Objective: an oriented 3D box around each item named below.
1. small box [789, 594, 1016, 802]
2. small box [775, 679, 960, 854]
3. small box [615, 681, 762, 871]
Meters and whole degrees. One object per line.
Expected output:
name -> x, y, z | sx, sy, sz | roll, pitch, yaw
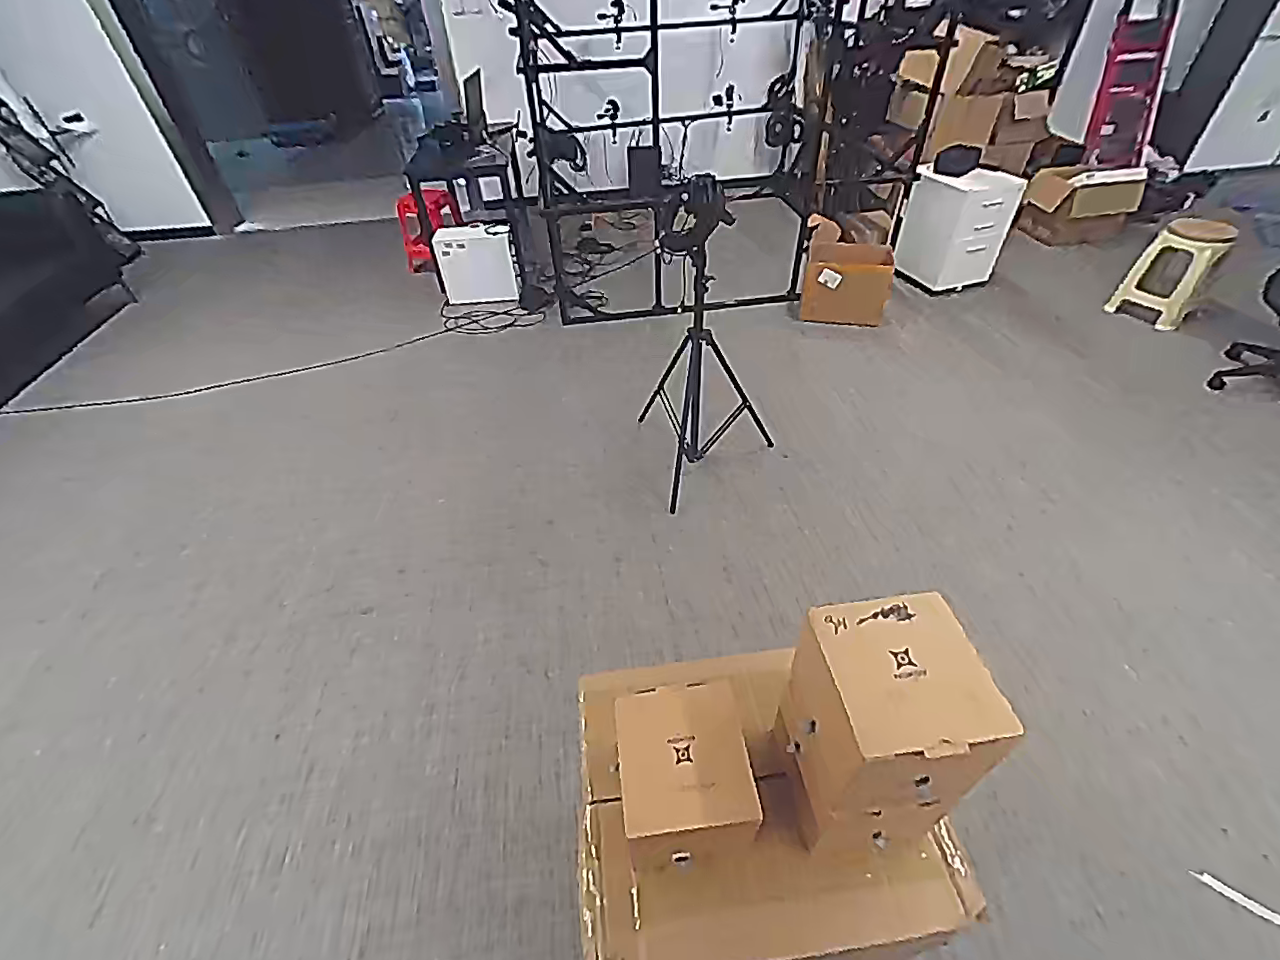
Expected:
small box -> 0.289, 0.263, 0.645 | 0.168, 0.176, 0.179 | -7, 43, -2
small box -> 0.296, 0.387, 0.753 | 0.168, 0.176, 0.179 | -8, 43, -3
small box -> 0.057, 0.408, 0.748 | 0.168, 0.176, 0.179 | -7, 44, -4
